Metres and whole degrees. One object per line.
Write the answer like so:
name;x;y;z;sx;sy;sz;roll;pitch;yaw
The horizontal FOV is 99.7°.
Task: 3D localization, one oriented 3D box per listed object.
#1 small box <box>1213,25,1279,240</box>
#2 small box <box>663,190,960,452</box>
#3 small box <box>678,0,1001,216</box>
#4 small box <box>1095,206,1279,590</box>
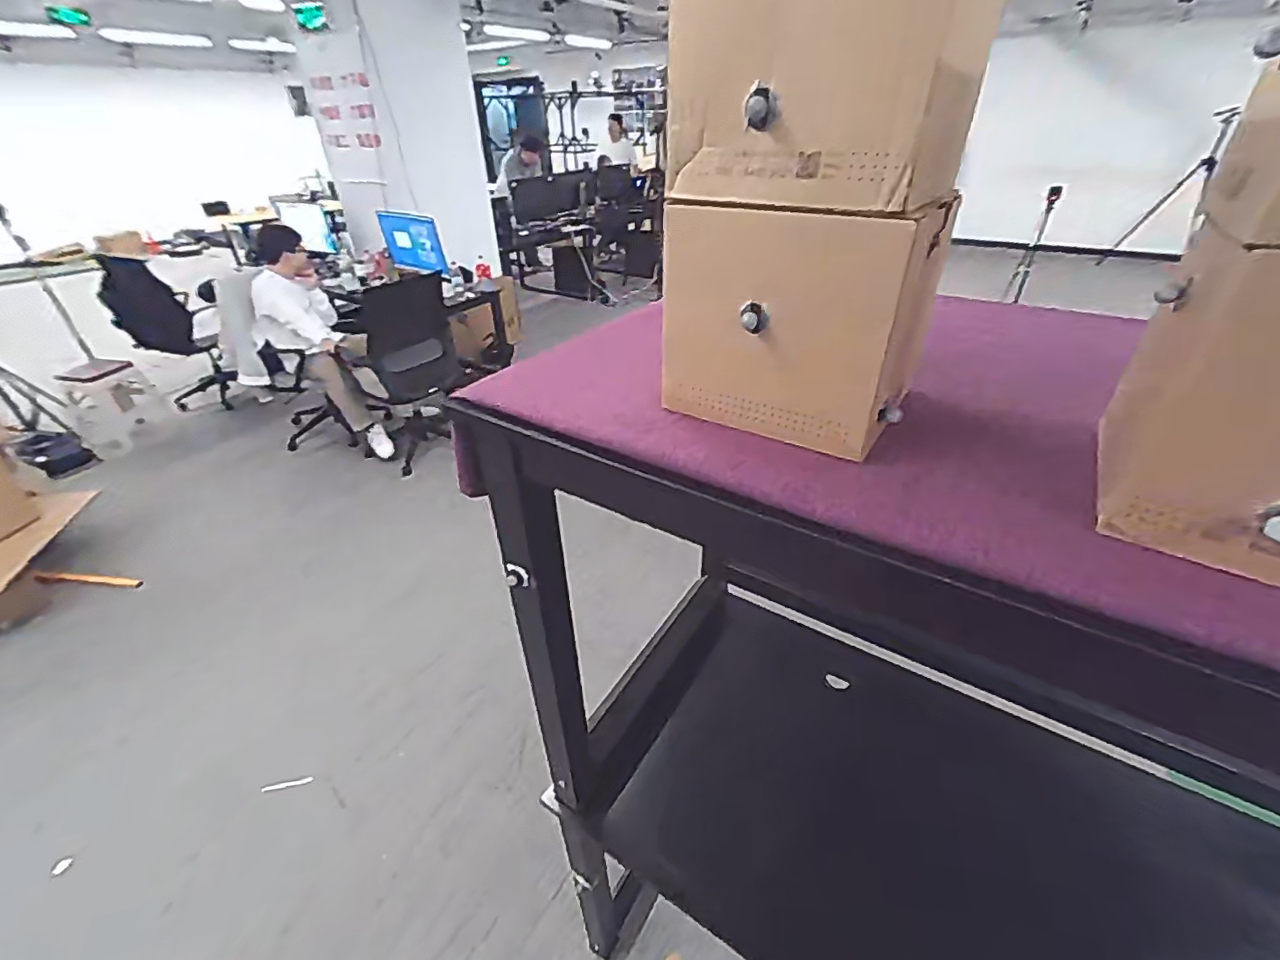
small box;0.379;-0.185;0.210;0.179;0.176;0.168;19;38;31
small box;0.134;-0.140;0.449;0.179;0.176;0.168;19;38;29
small box;0.133;-0.282;0.369;0.168;0.176;0.179;19;38;28
small box;0.388;-0.047;0.301;0.168;0.176;0.179;20;39;31
